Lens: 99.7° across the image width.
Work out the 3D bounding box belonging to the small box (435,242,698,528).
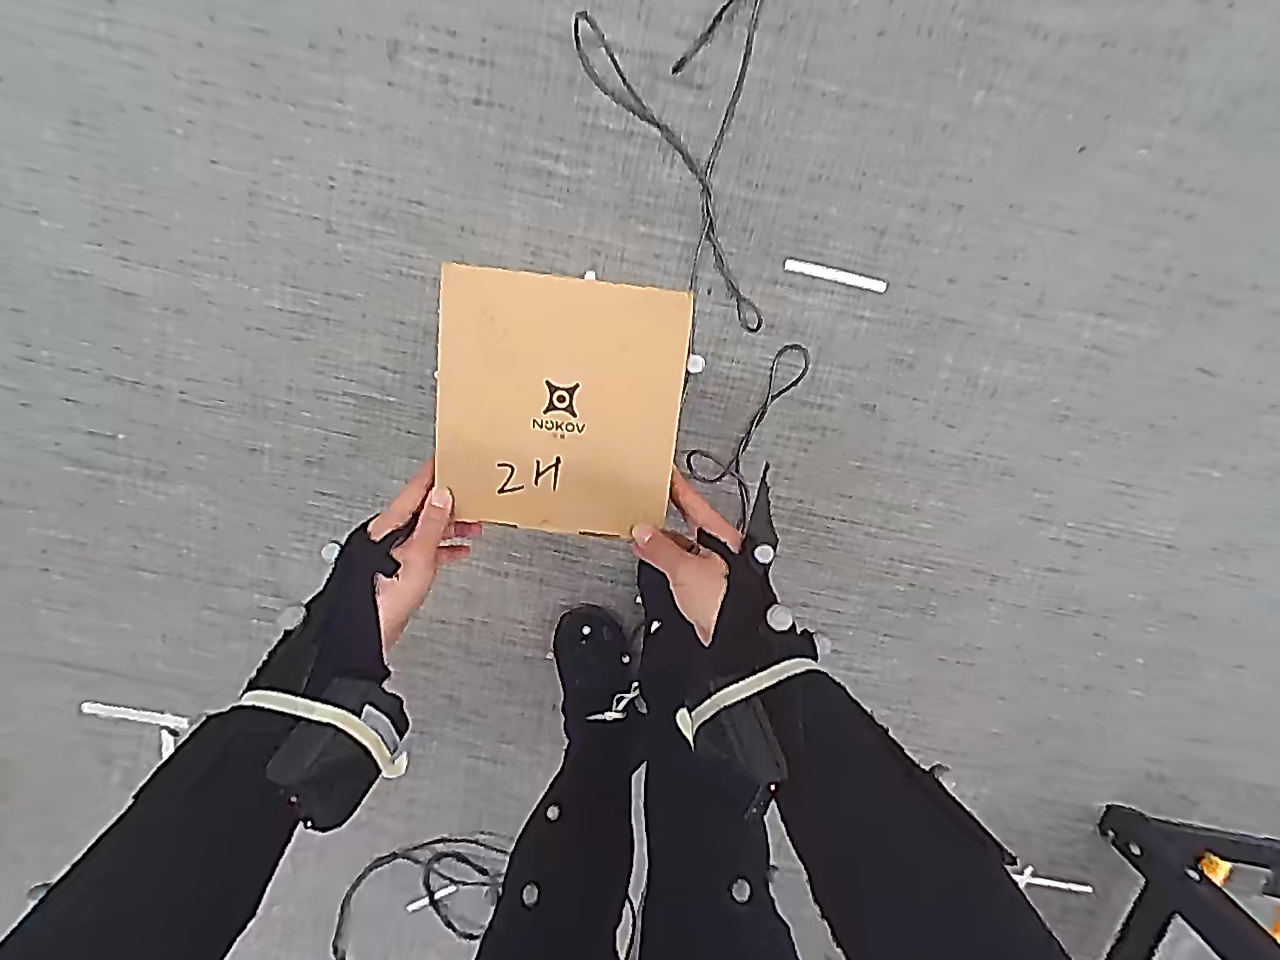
[{"bbox_3d":[-0.054,-0.077,0.443,0.168,0.176,0.179,7,104,-2],"label":"small box"}]
